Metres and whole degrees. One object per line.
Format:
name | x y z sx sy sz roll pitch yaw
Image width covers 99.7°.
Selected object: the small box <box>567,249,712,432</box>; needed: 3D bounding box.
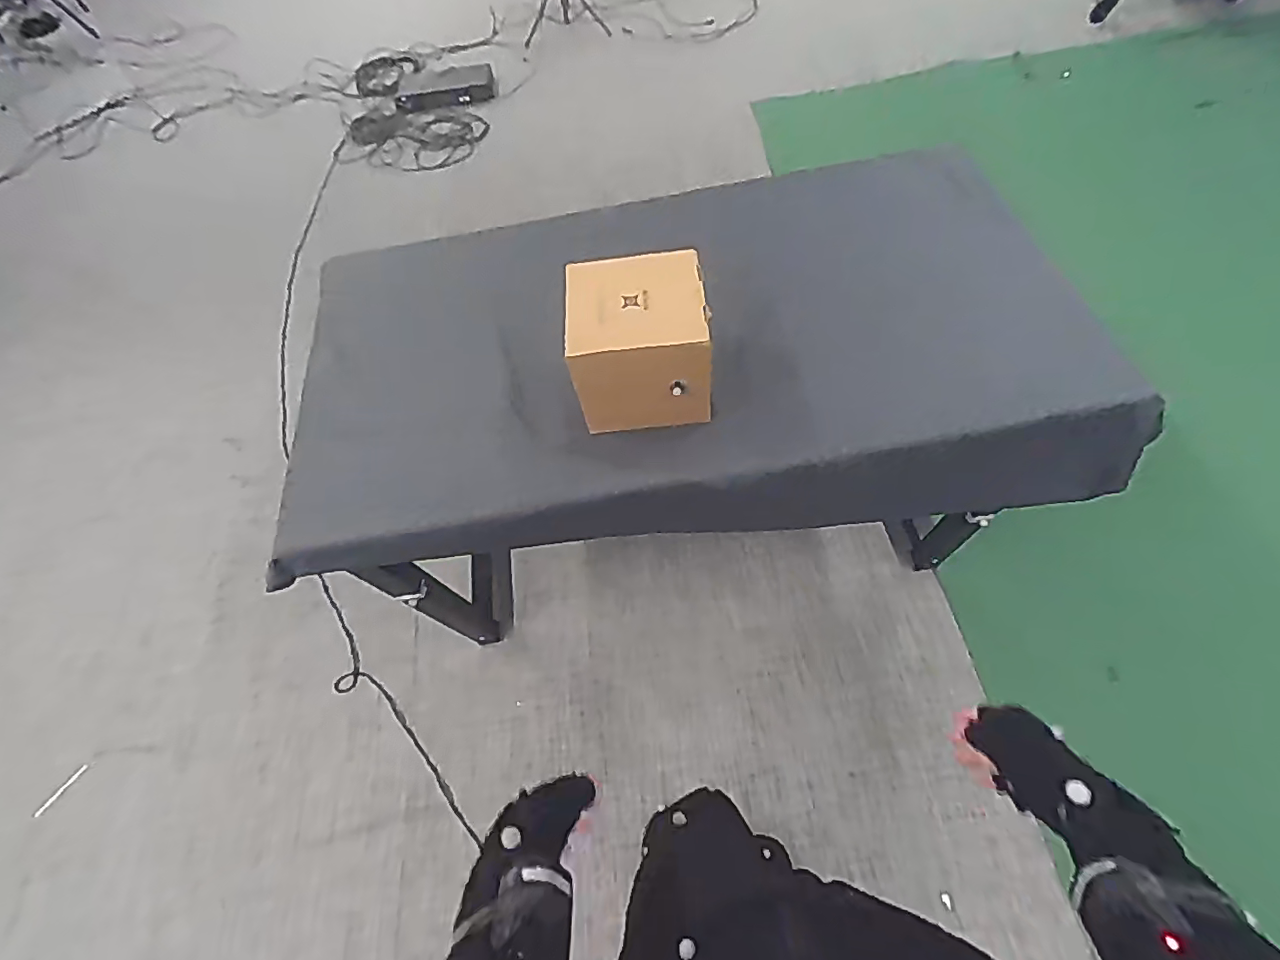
small box | 0.003 -0.185 0.748 0.179 0.176 0.168 -7 60 5
